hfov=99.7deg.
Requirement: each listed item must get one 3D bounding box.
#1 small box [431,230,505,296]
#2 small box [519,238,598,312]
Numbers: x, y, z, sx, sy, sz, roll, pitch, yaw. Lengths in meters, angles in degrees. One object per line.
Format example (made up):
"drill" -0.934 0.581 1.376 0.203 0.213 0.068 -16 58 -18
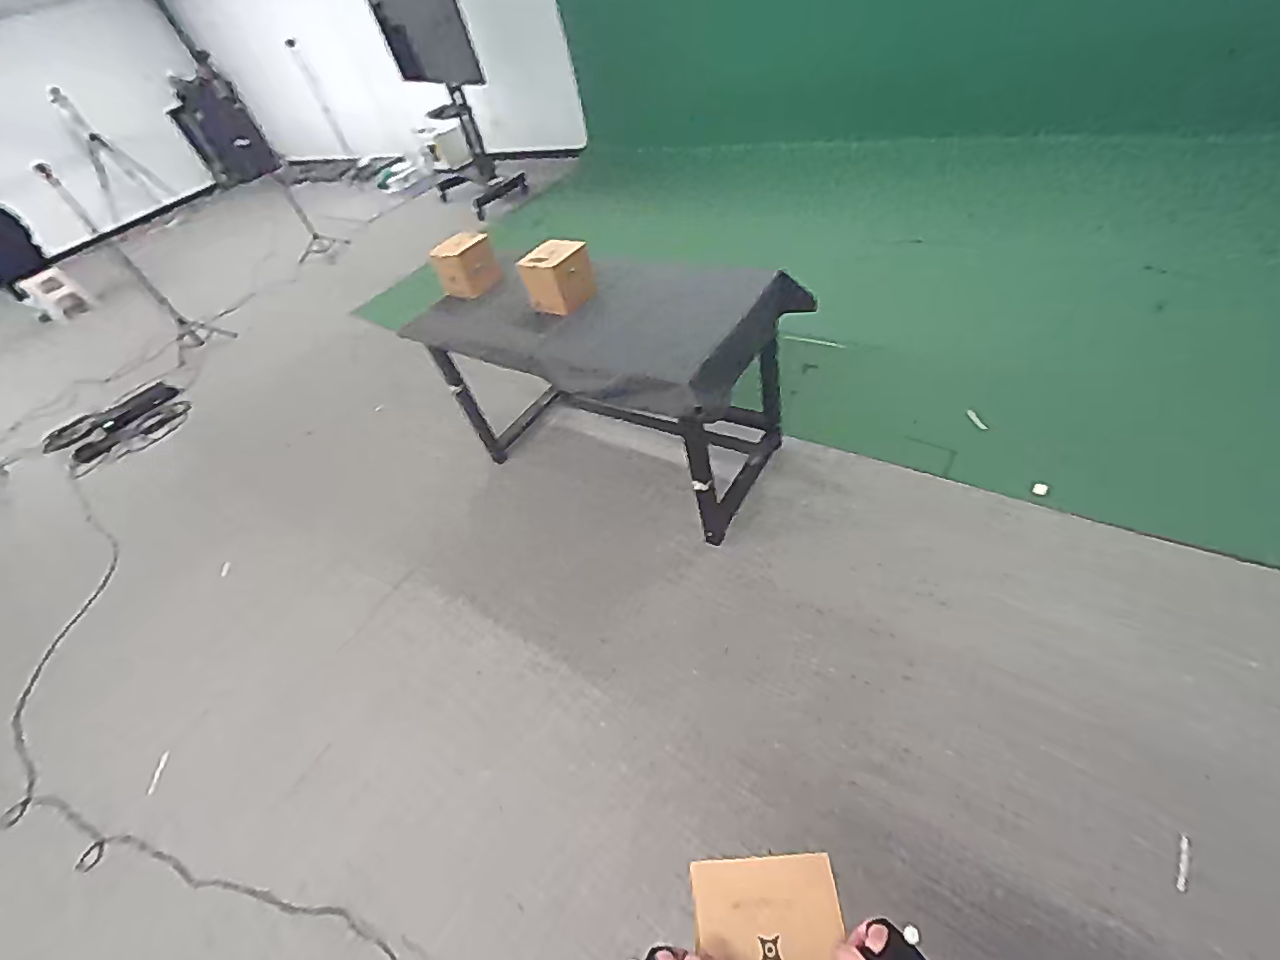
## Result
"small box" -0.644 -0.820 2.047 0.168 0.176 0.179 20 57 29
"small box" -0.263 -0.682 1.801 0.168 0.176 0.179 21 56 32
